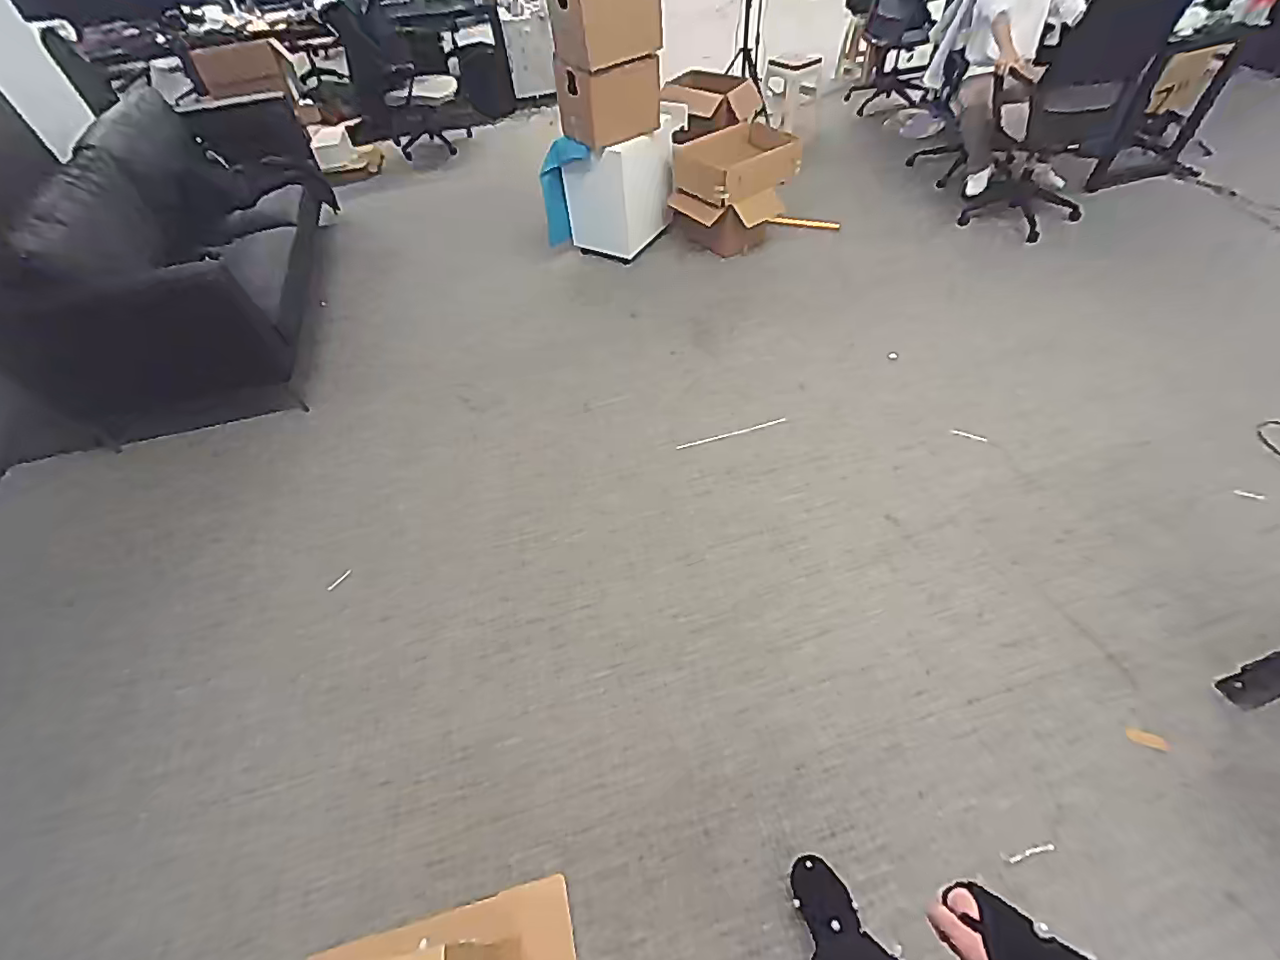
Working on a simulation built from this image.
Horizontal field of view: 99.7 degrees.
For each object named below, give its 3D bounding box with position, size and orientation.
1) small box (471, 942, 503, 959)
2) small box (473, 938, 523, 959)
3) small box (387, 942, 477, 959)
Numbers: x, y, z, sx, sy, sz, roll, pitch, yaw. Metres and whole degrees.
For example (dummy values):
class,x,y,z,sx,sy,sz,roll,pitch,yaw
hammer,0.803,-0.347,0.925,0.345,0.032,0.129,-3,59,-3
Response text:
class,x,y,z,sx,sy,sz,roll,pitch,yaw
small box,-0.351,0.978,0.991,0.168,0.176,0.179,-10,51,-3
small box,-0.337,1.079,1.118,0.168,0.176,0.179,-12,51,-4
small box,-0.365,0.873,0.865,0.168,0.176,0.179,-10,51,-5
